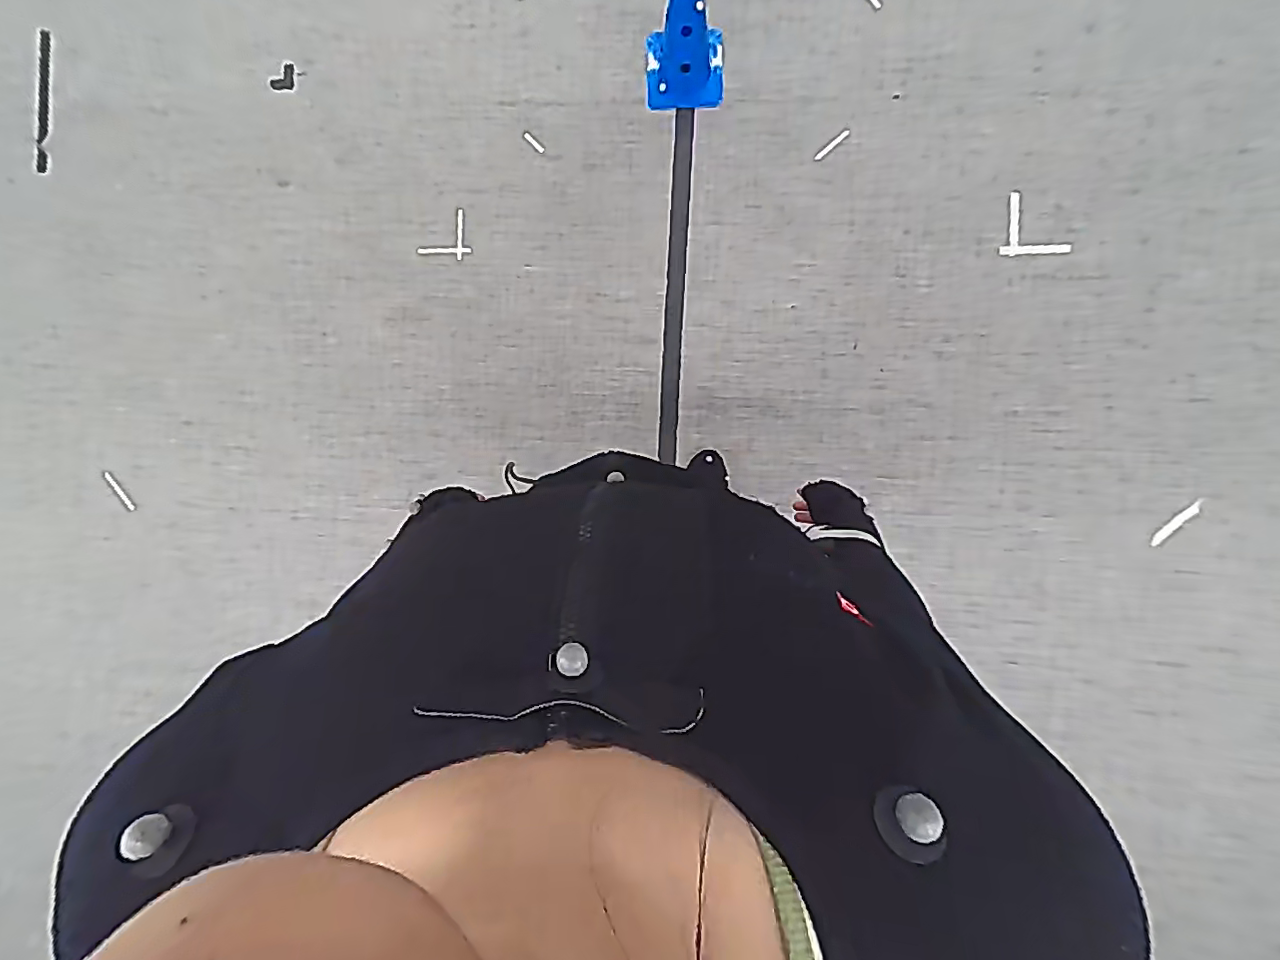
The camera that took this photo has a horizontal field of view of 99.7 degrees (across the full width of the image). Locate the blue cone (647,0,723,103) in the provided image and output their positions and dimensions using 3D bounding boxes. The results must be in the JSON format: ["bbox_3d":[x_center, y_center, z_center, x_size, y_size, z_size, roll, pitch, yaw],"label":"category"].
[{"bbox_3d":[0.108,-1.073,1.239,0.192,0.380,0.193,-3,93,4],"label":"blue cone"}]
